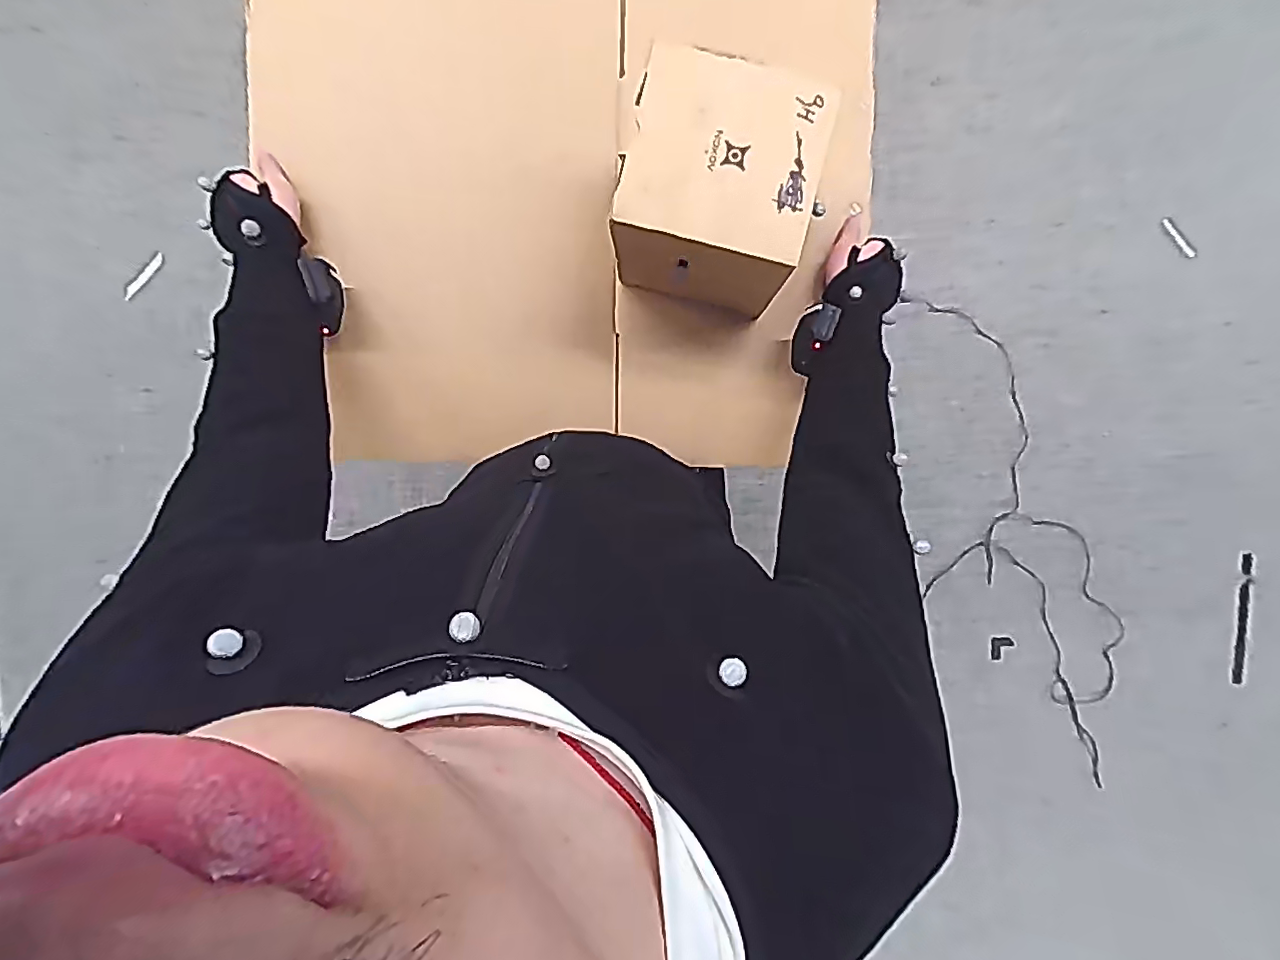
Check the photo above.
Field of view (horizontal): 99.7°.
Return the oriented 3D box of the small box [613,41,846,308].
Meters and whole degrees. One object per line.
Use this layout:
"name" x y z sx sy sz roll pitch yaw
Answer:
"small box" 0.082 -0.296 0.564 0.179 0.176 0.168 15 92 1
